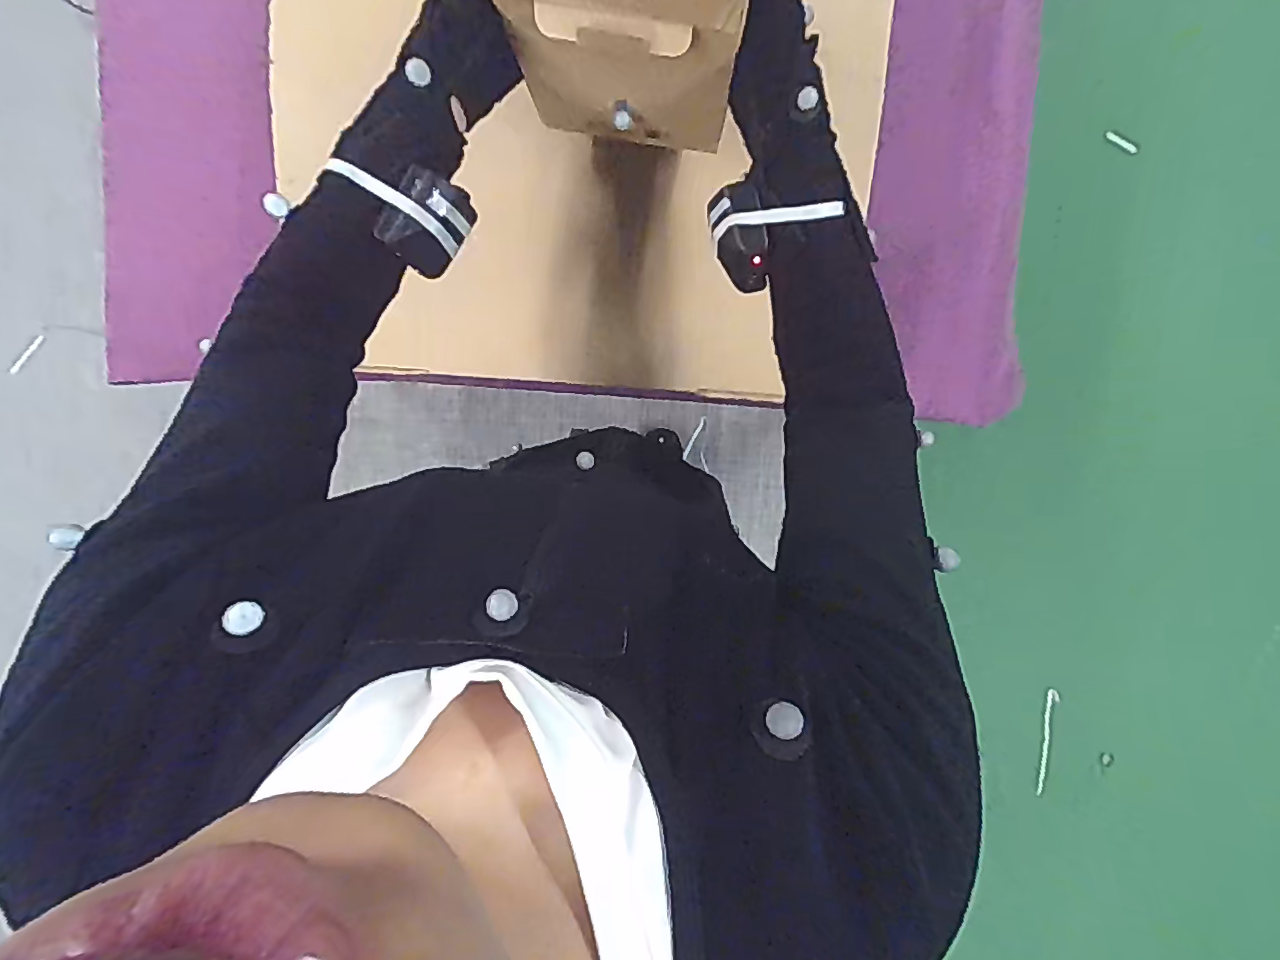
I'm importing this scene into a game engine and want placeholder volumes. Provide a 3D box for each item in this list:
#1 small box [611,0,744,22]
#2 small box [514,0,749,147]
[{"bbox_3d":[-0.002,-0.375,0.249,0.168,0.176,0.179,11,98,1],"label":"small box"},{"bbox_3d":[0.004,-0.396,0.410,0.168,0.176,0.179,11,98,1],"label":"small box"}]
